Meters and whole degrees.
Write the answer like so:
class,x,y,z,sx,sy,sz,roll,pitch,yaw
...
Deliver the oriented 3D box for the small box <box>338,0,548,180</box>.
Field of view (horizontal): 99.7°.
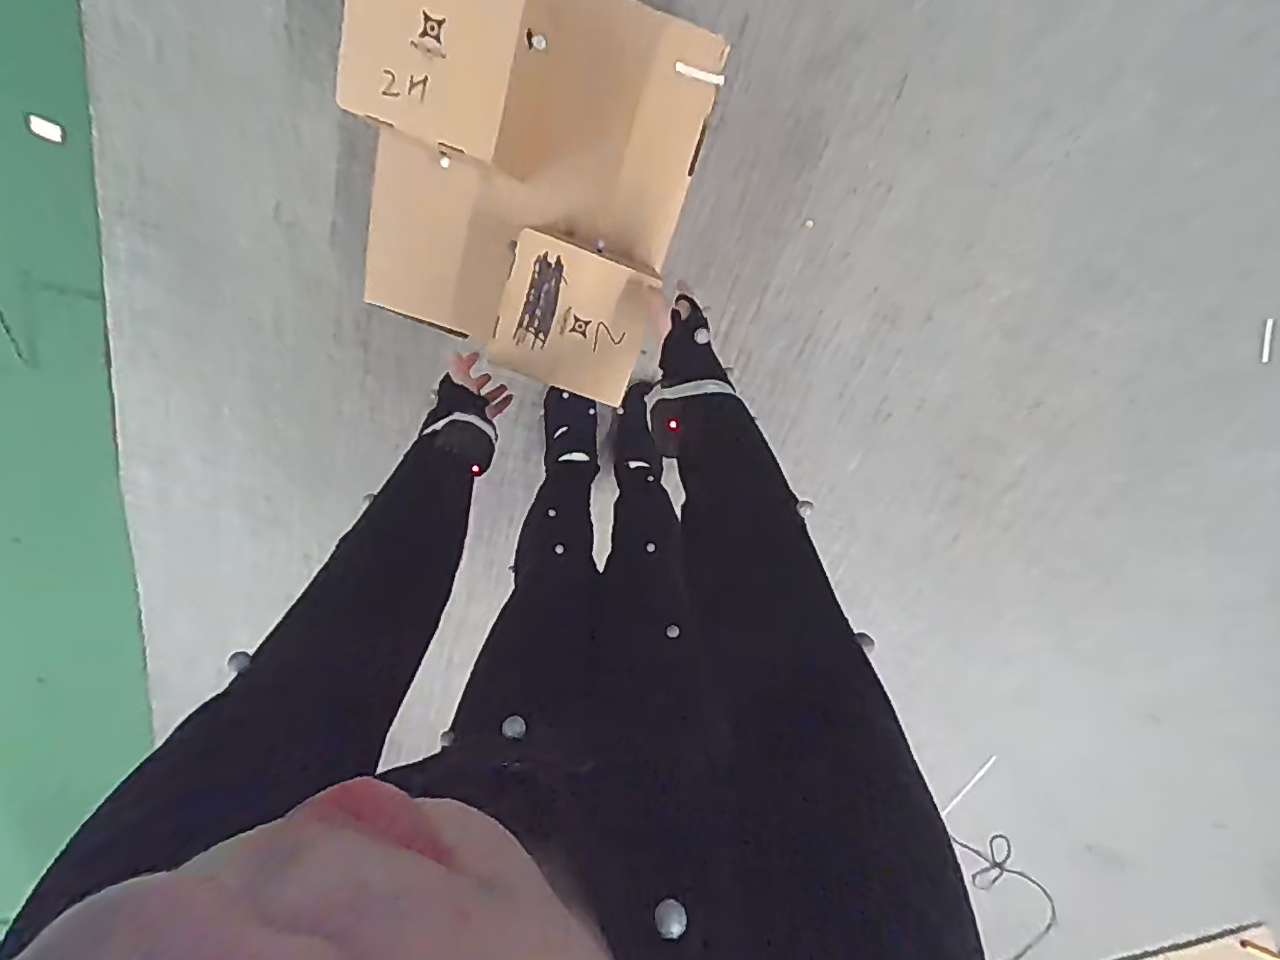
class,x,y,z,sx,sy,sz,roll,pitch,yaw
small box,-0.208,-0.467,0.610,0.168,0.176,0.179,17,111,-8
